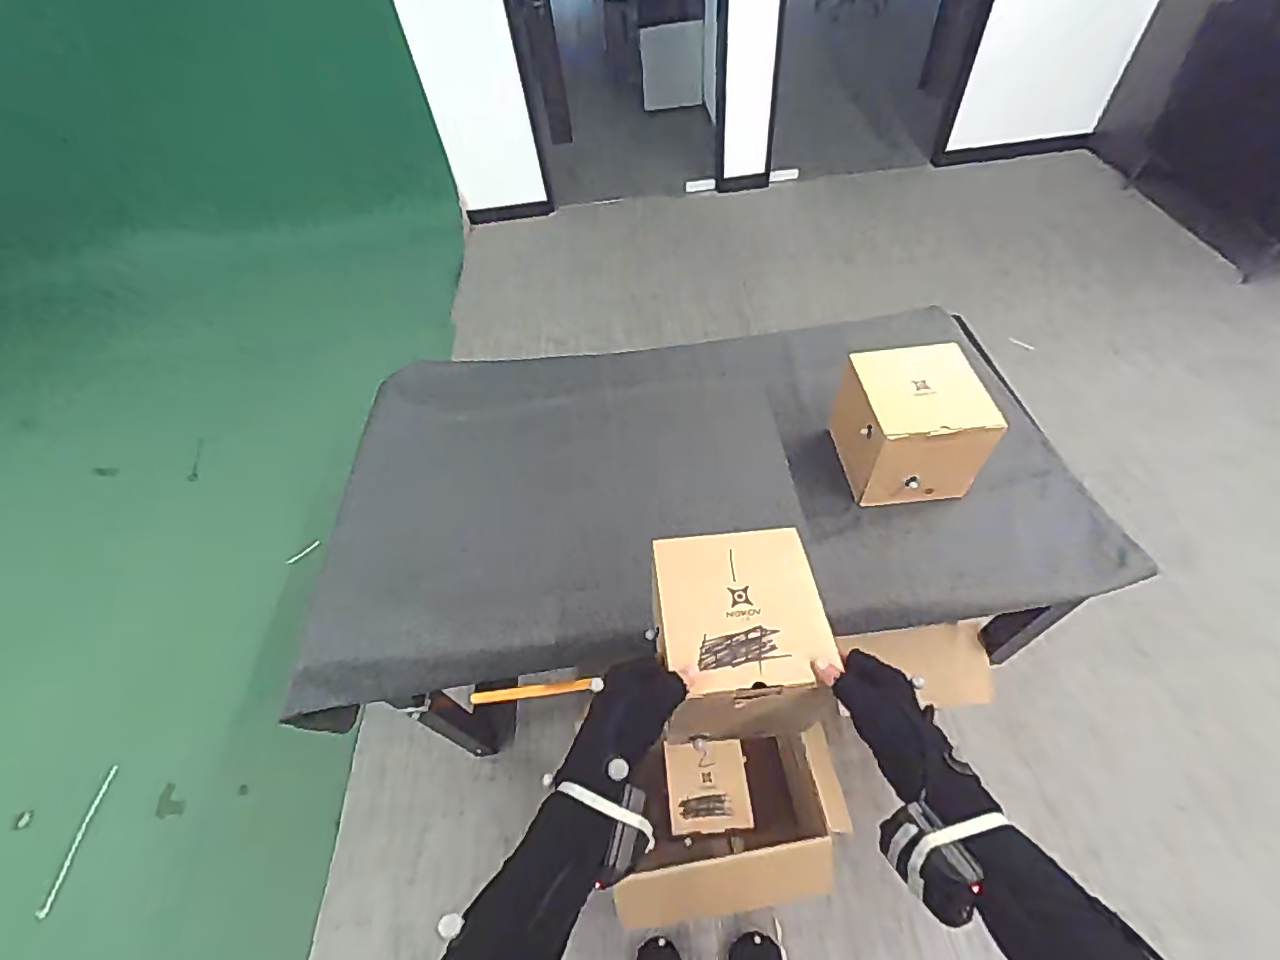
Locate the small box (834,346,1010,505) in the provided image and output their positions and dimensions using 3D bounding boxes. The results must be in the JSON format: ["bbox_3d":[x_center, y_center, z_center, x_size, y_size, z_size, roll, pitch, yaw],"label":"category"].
[{"bbox_3d":[0.417,-0.082,0.840,0.168,0.176,0.179,-6,53,2],"label":"small box"}]

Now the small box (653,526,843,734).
[{"bbox_3d":[0.105,0.174,0.610,0.168,0.176,0.179,-4,50,-2],"label":"small box"}]
